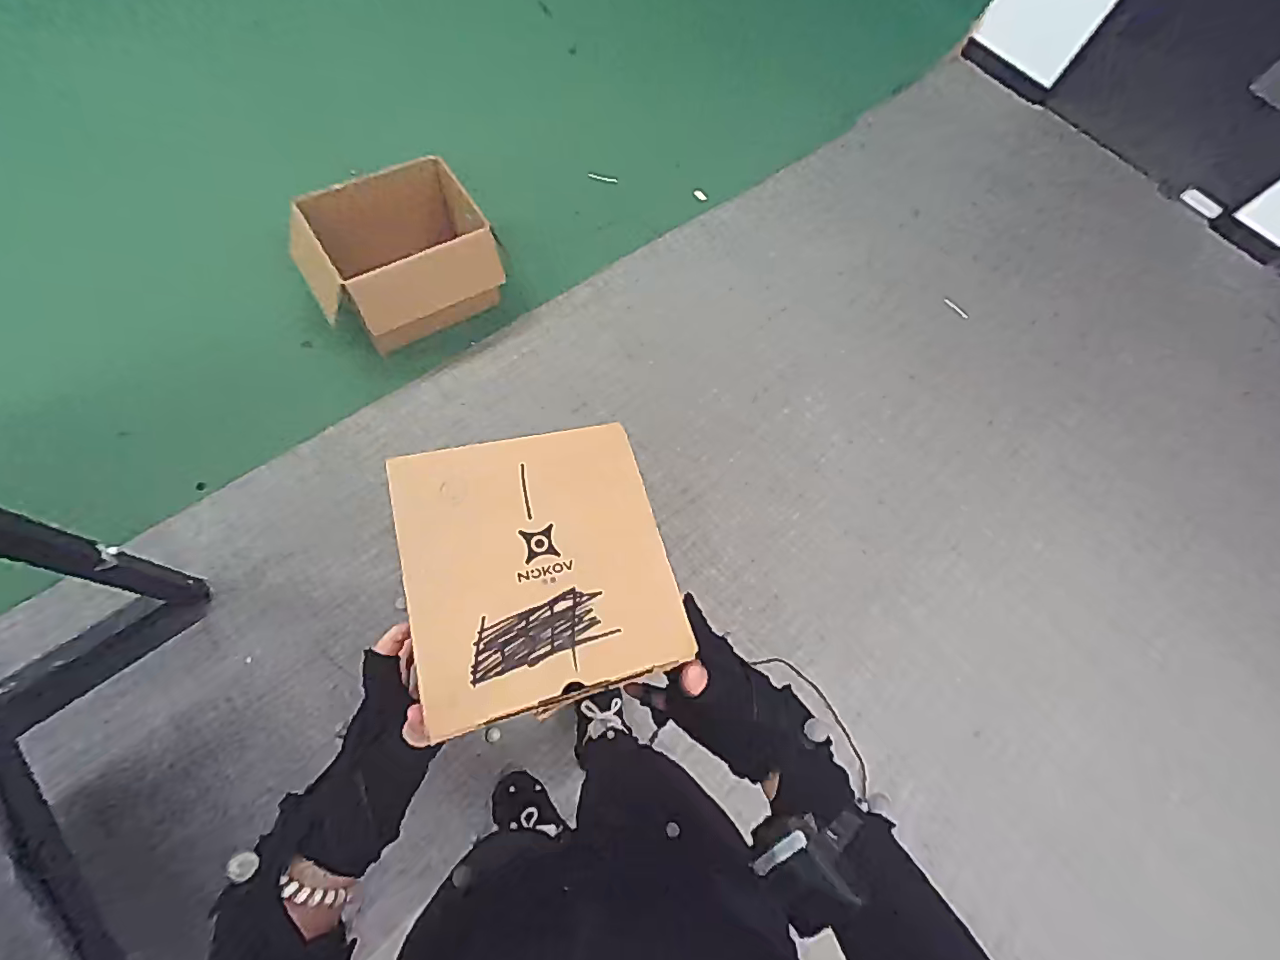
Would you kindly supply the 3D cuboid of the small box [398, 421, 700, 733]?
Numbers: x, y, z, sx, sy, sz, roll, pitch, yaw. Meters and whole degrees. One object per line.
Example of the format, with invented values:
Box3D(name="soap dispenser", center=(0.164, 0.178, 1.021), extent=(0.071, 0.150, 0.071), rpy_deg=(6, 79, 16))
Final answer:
Box3D(name="small box", center=(-0.076, 0.079, 0.420), extent=(0.168, 0.176, 0.179), rpy_deg=(-11, 69, -19))
